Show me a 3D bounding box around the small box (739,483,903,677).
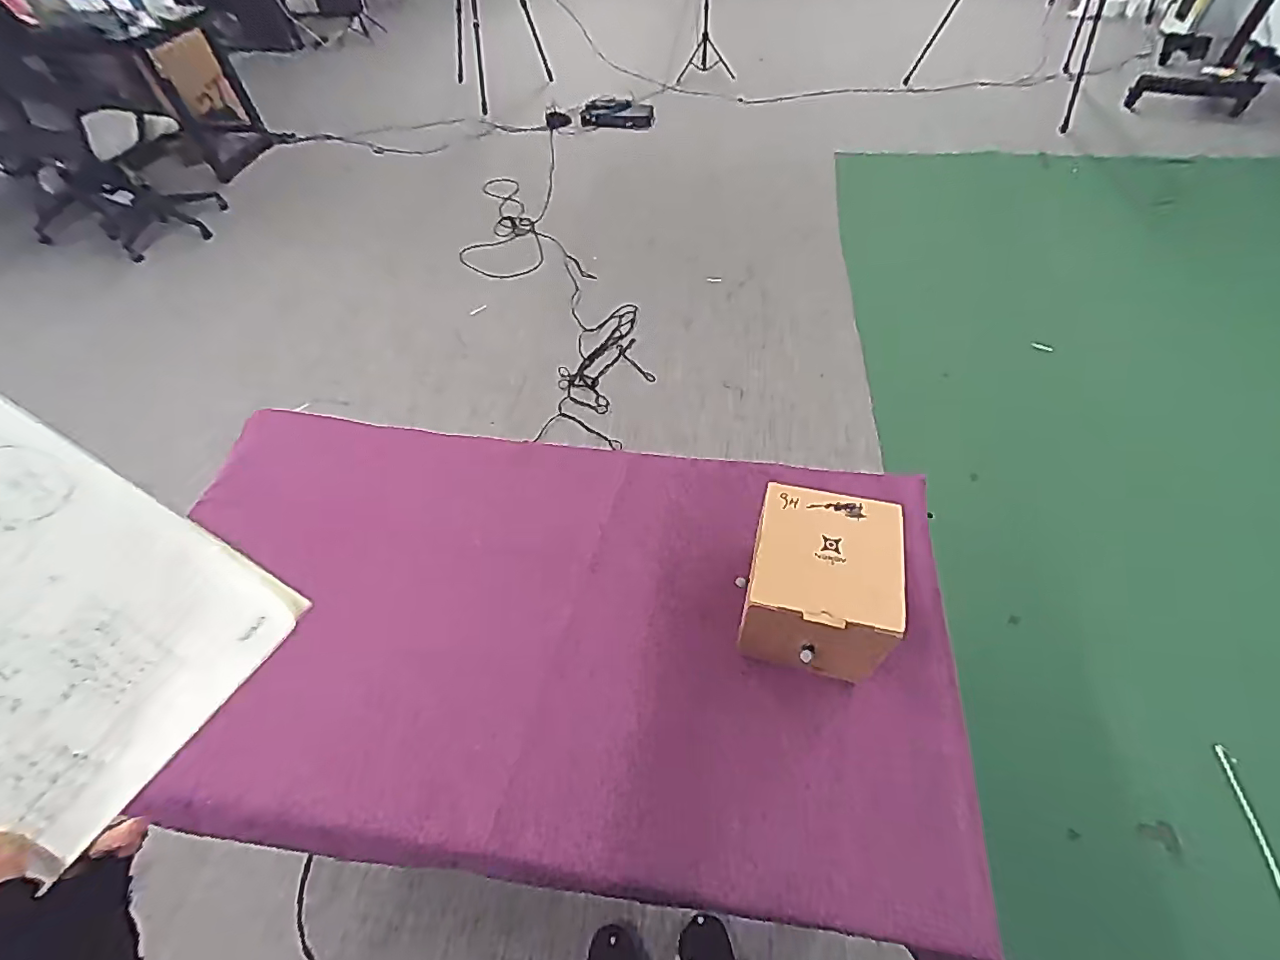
[{"bbox_3d":[0.226,0.133,0.697,0.168,0.176,0.179,11,55,12],"label":"small box"}]
